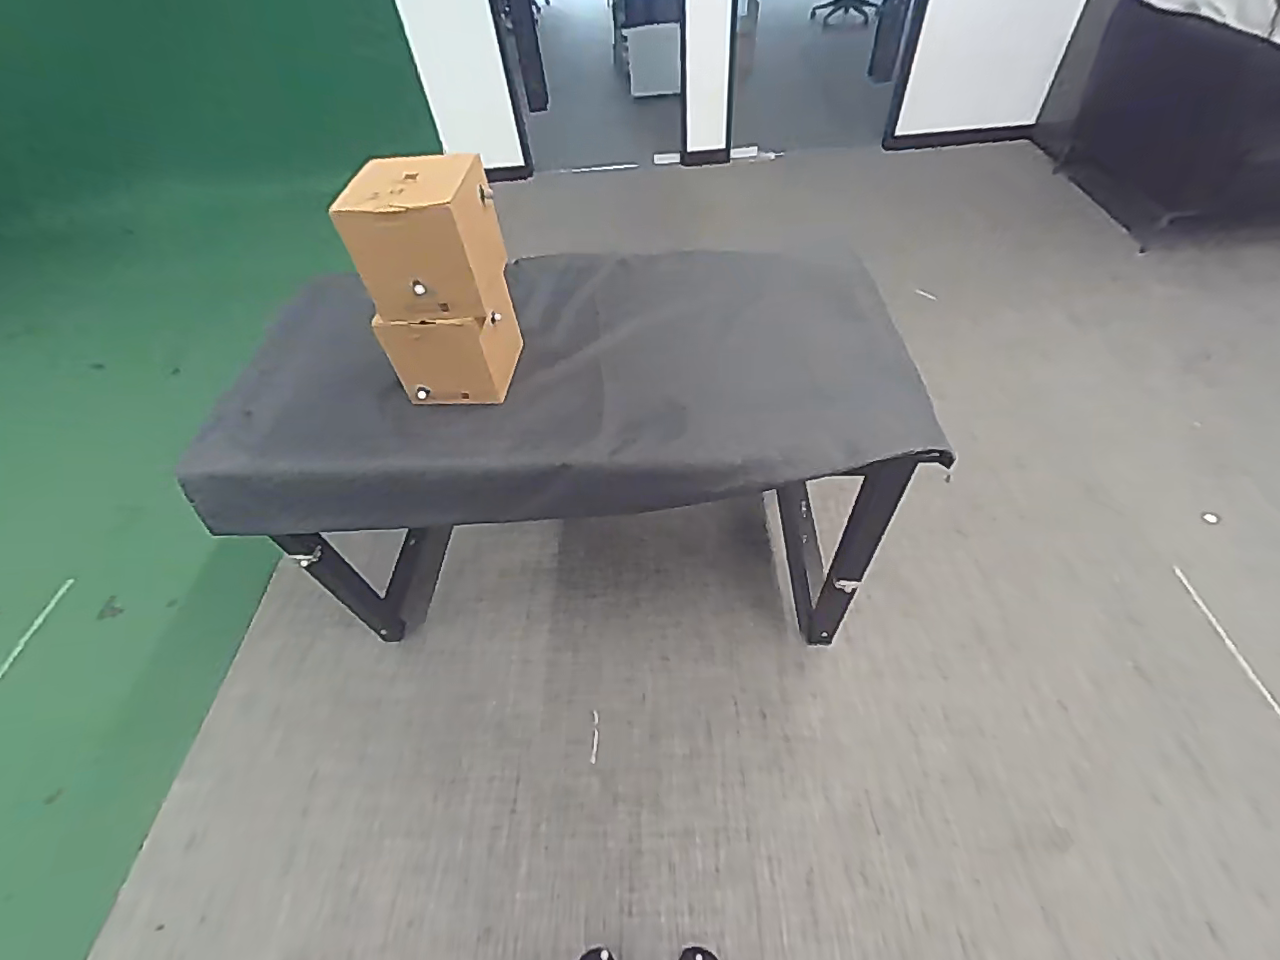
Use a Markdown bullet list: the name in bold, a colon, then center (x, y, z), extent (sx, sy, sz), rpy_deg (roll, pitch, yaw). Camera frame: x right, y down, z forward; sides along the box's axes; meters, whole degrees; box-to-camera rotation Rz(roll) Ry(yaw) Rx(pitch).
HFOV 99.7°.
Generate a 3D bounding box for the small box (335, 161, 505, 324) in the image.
- **small box**: center (-0.314, -0.357, 0.819), extent (0.168, 0.176, 0.179), rpy_deg (-2, 50, 4)

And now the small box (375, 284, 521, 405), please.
- **small box**: center (-0.318, -0.244, 0.940), extent (0.168, 0.176, 0.179), rpy_deg (1, 49, 6)
